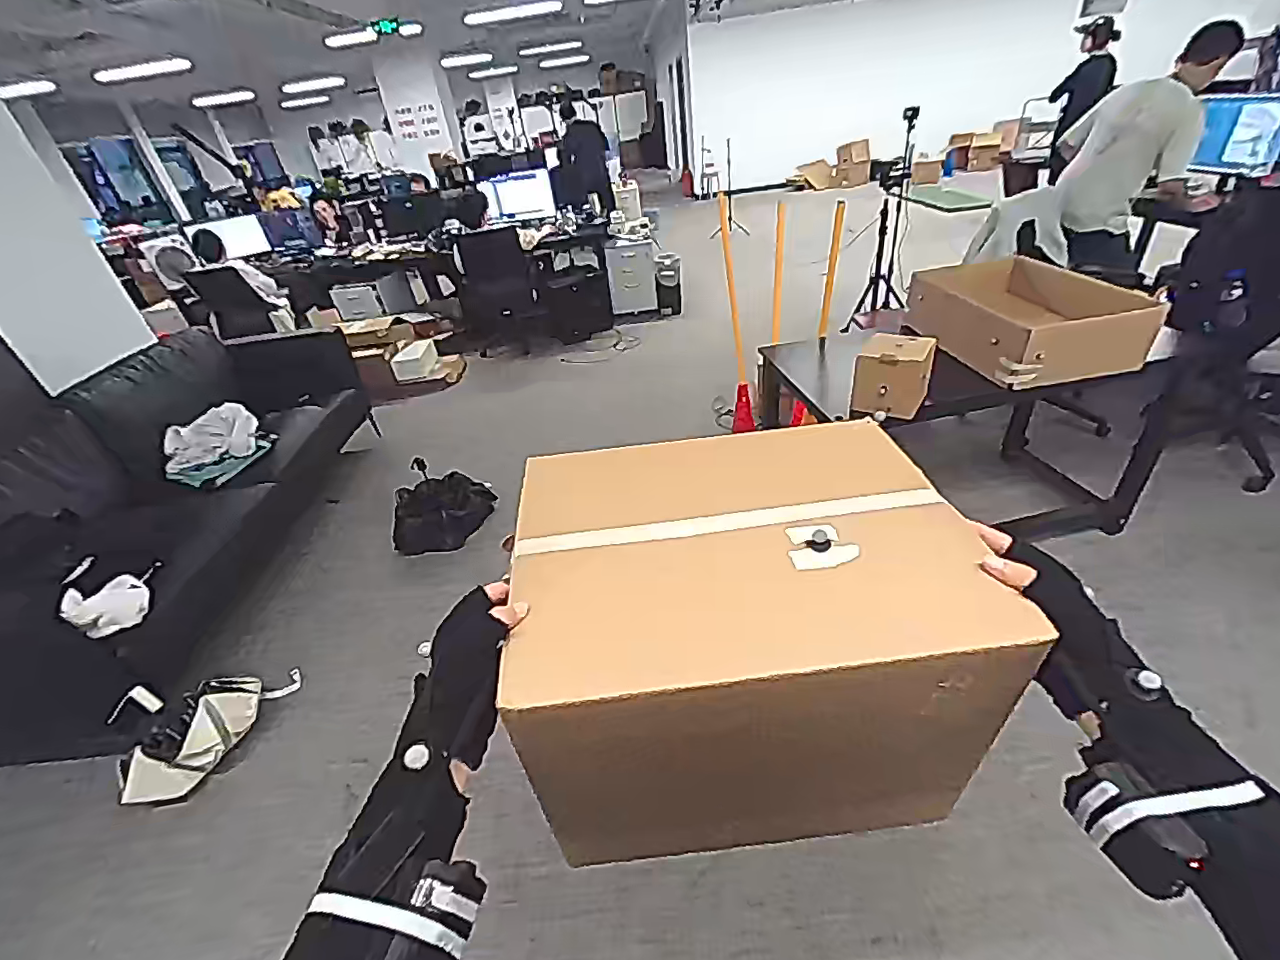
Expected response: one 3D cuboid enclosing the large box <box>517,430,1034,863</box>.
[{"bbox_3d":[0.098,0.171,0.605,0.408,0.320,0.320,-6,37,-2],"label":"large box"}]
